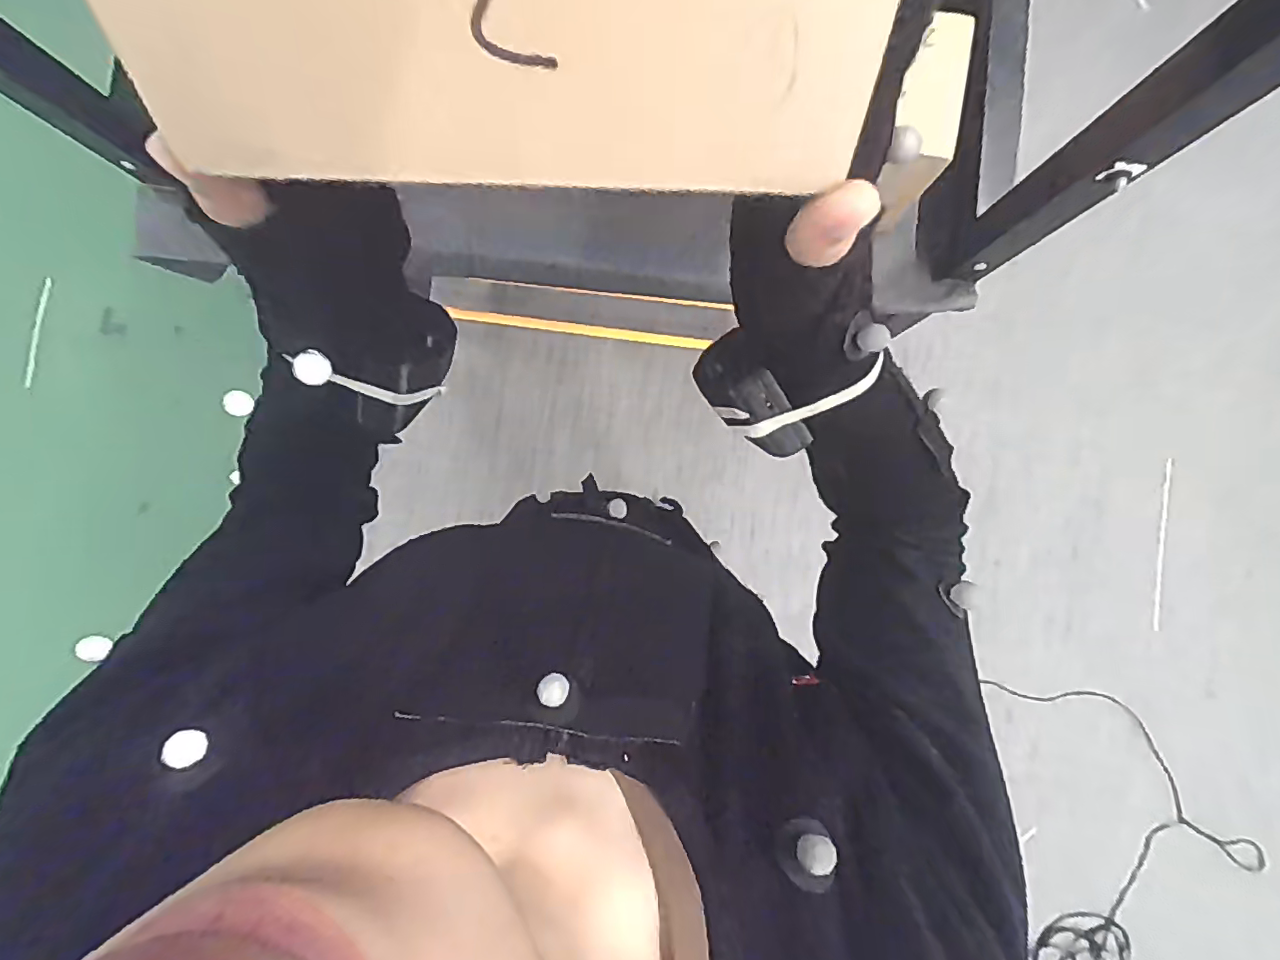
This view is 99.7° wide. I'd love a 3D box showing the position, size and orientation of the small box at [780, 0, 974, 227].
[{"bbox_3d":[0.289,-0.458,0.700,0.168,0.176,0.179,10,87,0],"label":"small box"}]
